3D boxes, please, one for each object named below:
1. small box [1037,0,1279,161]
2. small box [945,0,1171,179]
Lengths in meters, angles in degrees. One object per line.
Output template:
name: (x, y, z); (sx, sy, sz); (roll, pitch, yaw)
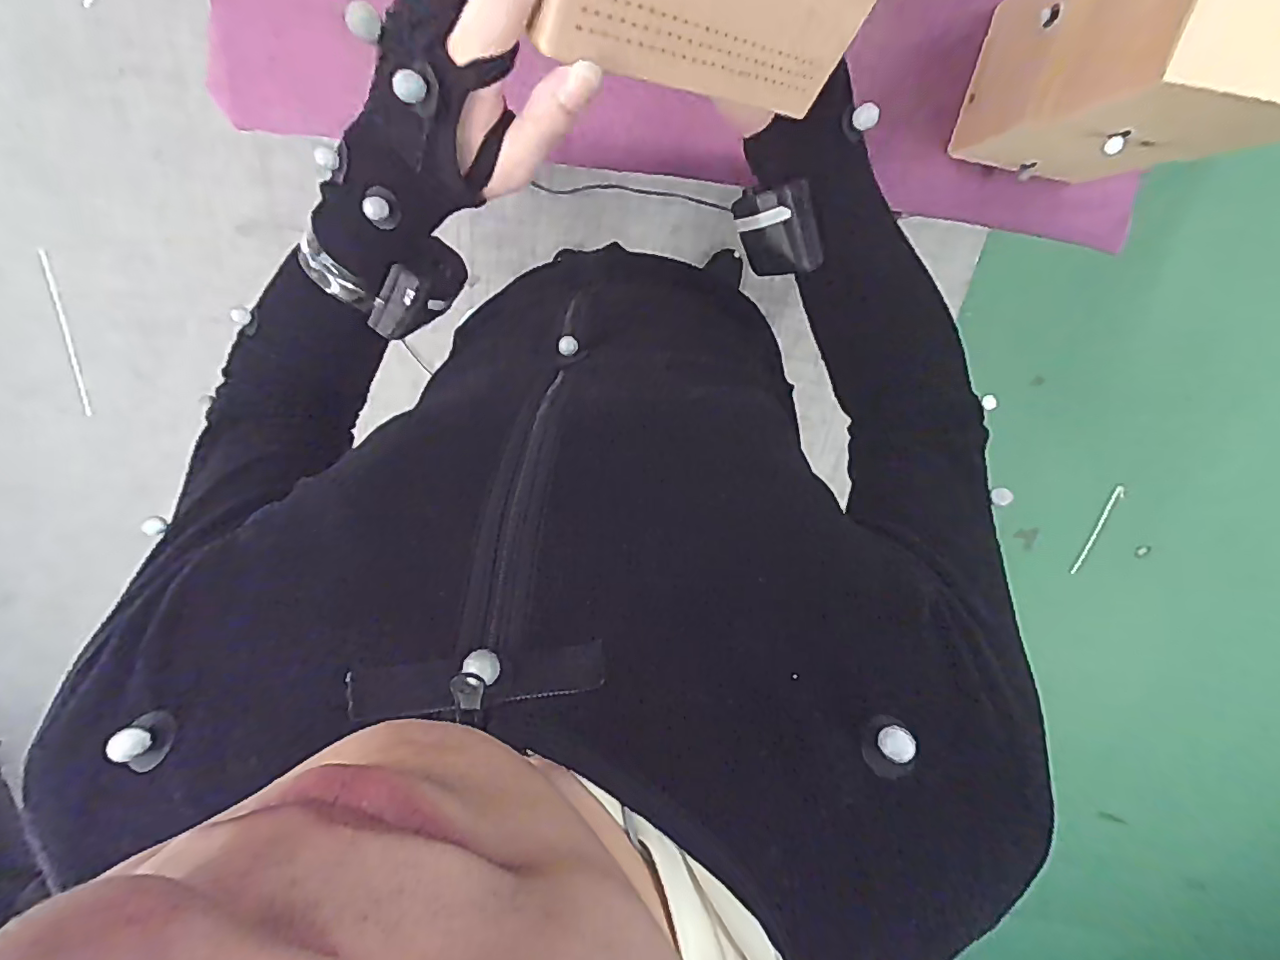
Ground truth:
small box: (0.491, -0.397, 0.458); (0.168, 0.176, 0.179); (11, 112, 0)
small box: (0.494, -0.454, 0.611); (0.179, 0.176, 0.168); (11, 111, -2)
